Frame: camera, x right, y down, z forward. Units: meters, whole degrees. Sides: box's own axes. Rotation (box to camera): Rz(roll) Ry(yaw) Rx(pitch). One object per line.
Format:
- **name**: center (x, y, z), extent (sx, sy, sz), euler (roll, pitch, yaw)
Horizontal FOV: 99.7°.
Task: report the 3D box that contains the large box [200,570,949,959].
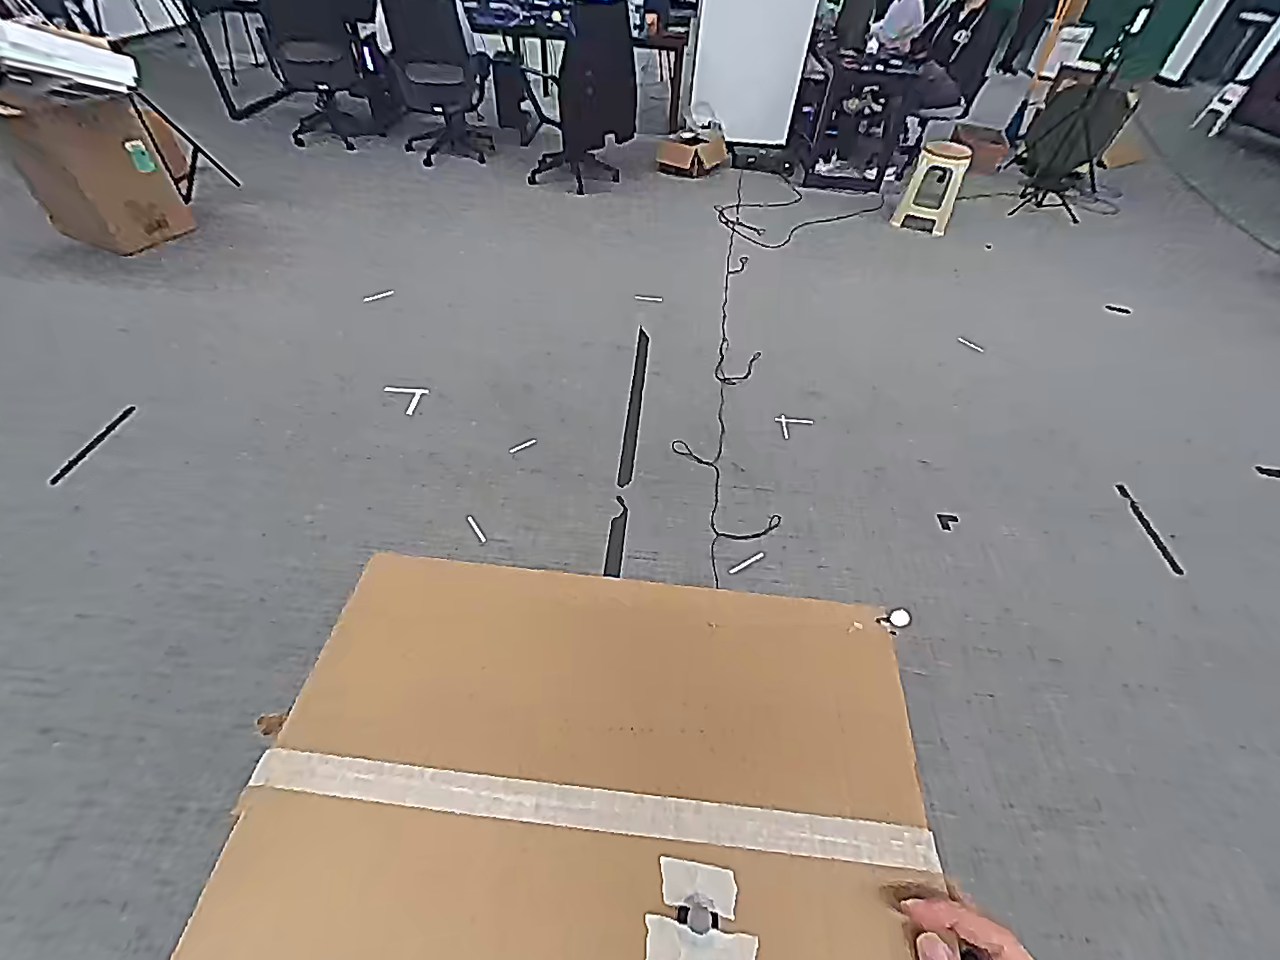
- **large box**: center (-0.031, 0.301, 0.444), extent (0.408, 0.320, 0.320), euler (6, 51, 2)
